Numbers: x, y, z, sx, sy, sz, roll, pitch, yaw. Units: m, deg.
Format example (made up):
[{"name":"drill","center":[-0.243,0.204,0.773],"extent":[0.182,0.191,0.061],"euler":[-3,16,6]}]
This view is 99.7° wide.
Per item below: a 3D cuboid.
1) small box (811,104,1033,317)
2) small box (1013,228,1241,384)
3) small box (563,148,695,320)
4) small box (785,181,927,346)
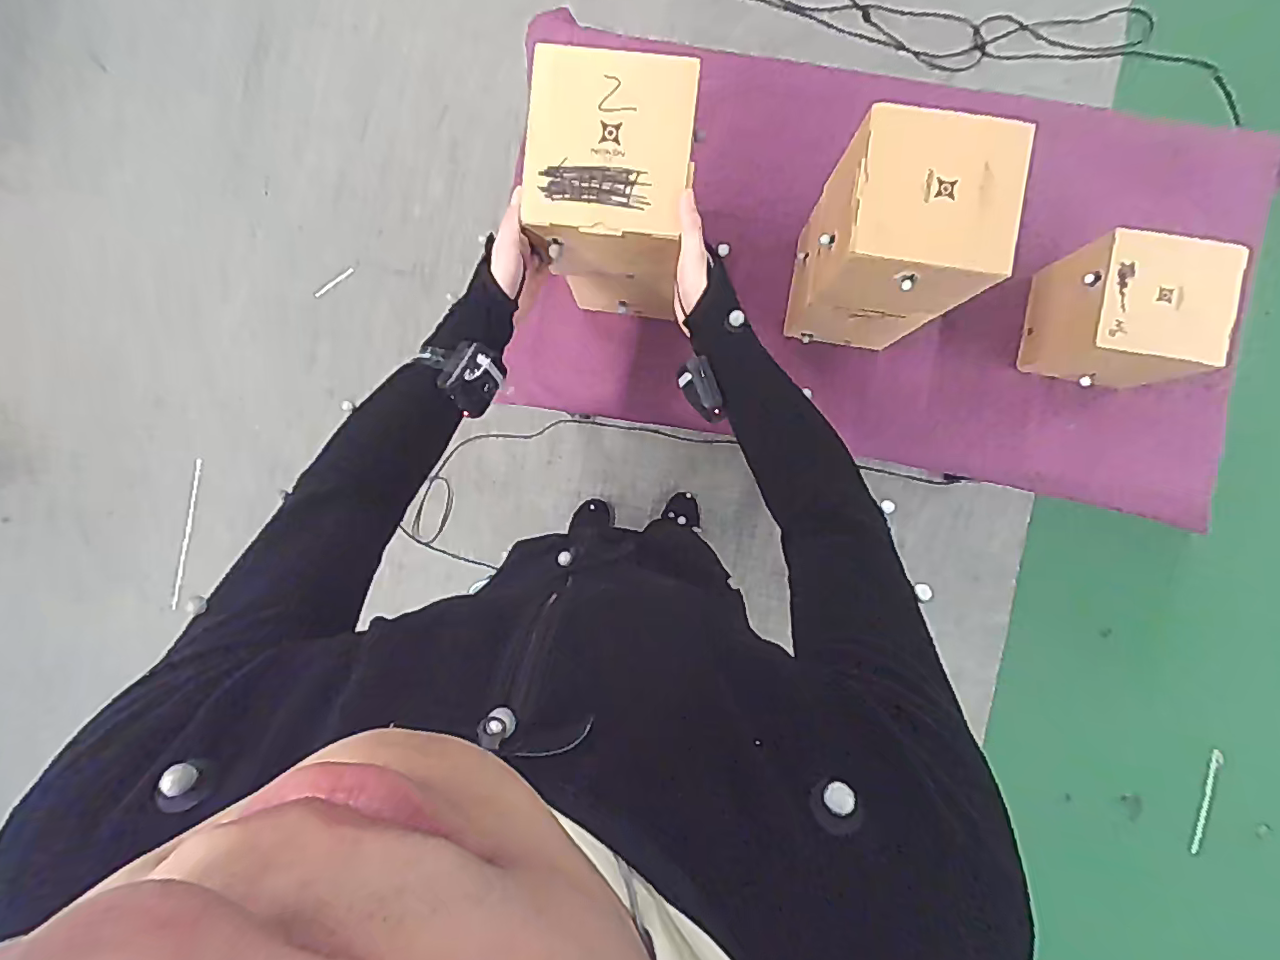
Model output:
[{"name":"small box","center":[0.323,-0.311,0.658],"extent":[0.179,0.176,0.168],"euler":[9,91,1]},{"name":"small box","center":[0.713,-0.247,0.811],"extent":[0.179,0.176,0.168],"euler":[10,90,1]},{"name":"small box","center":[-0.015,-0.363,0.827],"extent":[0.168,0.176,0.179],"euler":[8,90,2]},{"name":"small box","center":[0.328,-0.315,0.821],"extent":[0.168,0.176,0.179],"euler":[9,90,1]}]
